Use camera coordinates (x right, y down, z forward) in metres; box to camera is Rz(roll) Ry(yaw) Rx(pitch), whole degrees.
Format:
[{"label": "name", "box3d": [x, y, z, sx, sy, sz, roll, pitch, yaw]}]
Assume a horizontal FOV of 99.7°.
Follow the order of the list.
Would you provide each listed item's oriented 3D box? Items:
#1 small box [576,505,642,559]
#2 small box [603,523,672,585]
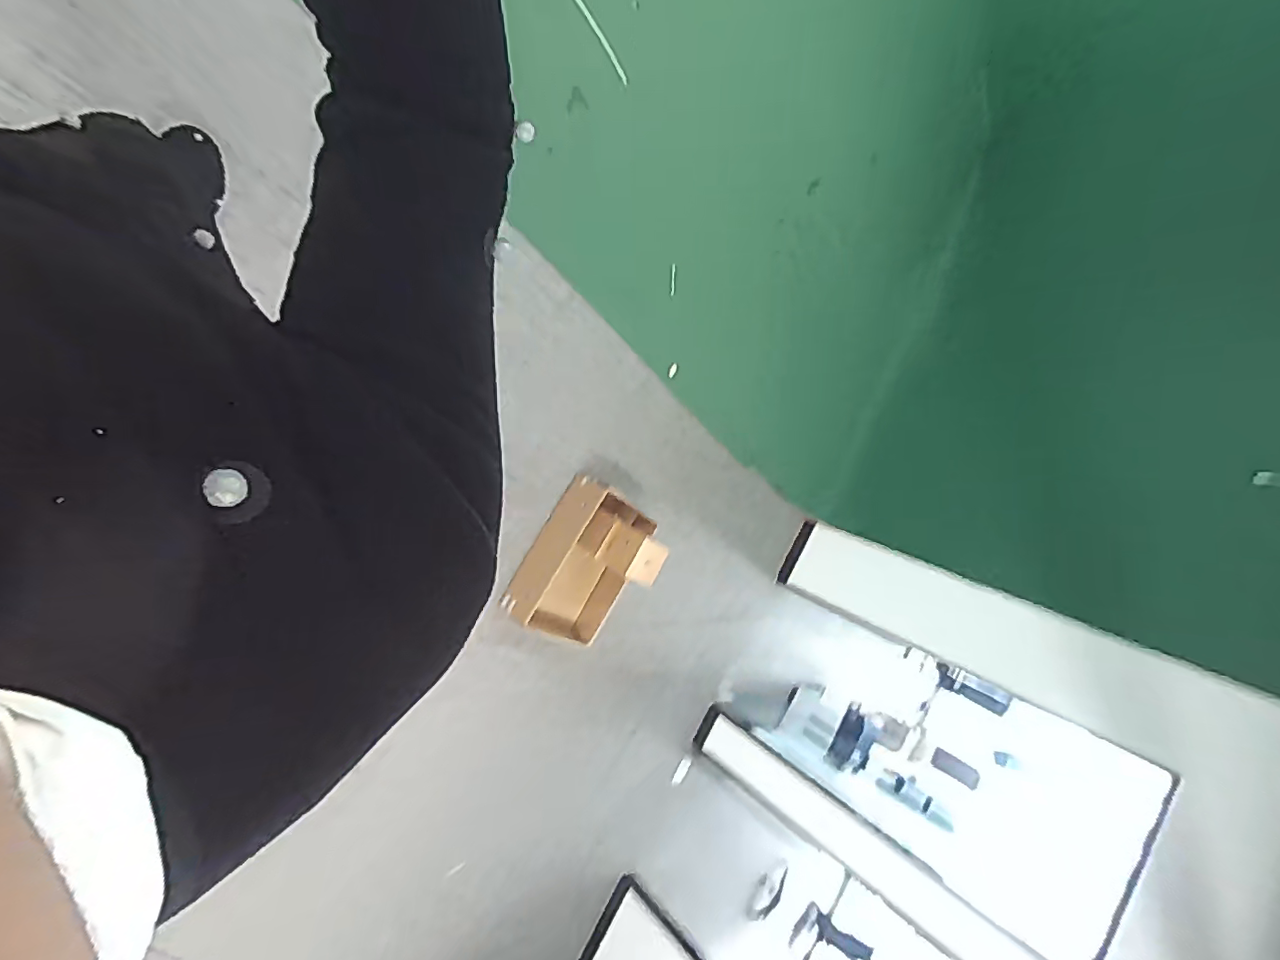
[{"label": "small box", "box3d": [-0.129, 0.225, 2.194, 0.168, 0.176, 0.179, 36, 84, -46]}, {"label": "small box", "box3d": [-0.013, 0.282, 2.095, 0.179, 0.176, 0.168, 33, 84, -47]}]
